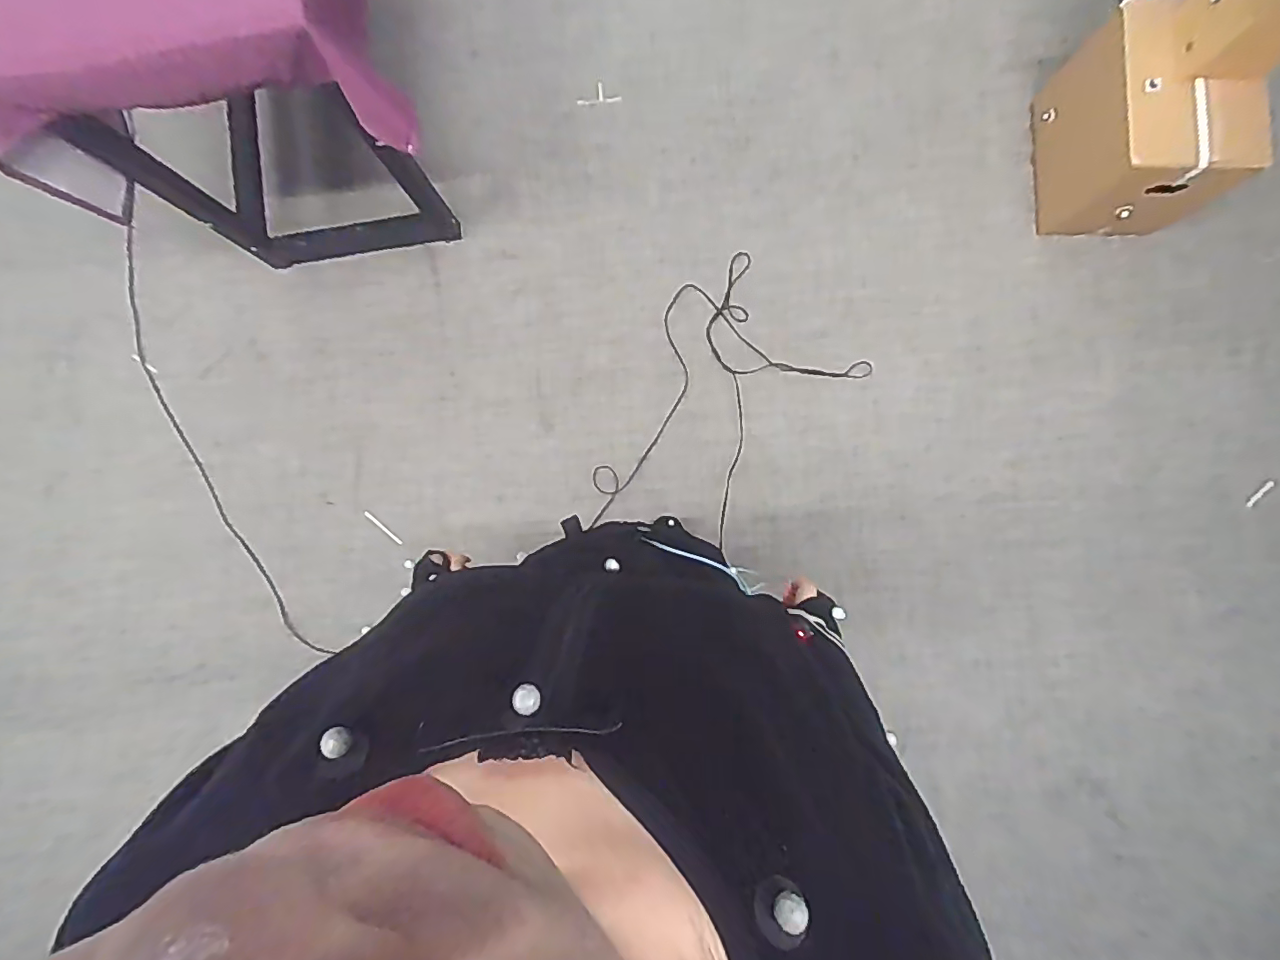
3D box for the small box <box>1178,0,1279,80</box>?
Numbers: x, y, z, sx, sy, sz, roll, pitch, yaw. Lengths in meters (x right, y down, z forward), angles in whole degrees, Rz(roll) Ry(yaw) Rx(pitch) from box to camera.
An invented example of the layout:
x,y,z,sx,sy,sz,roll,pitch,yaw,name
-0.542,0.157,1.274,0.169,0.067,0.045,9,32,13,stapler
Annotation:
x,y,z,sx,sy,sz,roll,pitch,yaw,name
1.294,-0.983,1.139,0.179,0.176,0.168,1,87,0,small box
